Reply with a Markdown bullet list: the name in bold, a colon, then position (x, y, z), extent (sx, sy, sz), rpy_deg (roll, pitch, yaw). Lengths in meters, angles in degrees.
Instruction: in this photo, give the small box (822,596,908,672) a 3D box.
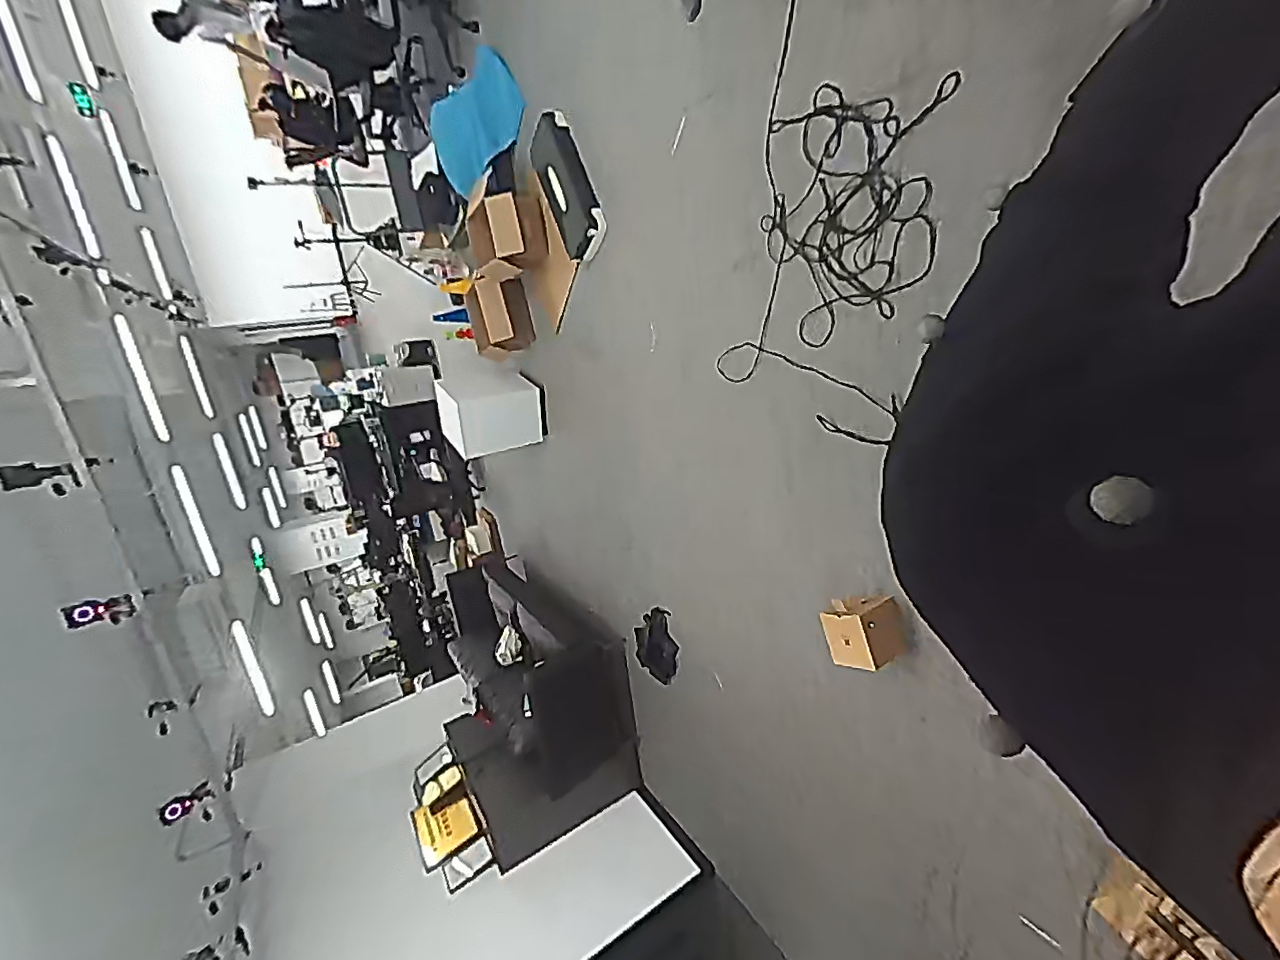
- **small box**: position (0.721, 0.486, 1.725), extent (0.168, 0.176, 0.179), rpy_deg (-20, 87, 61)
